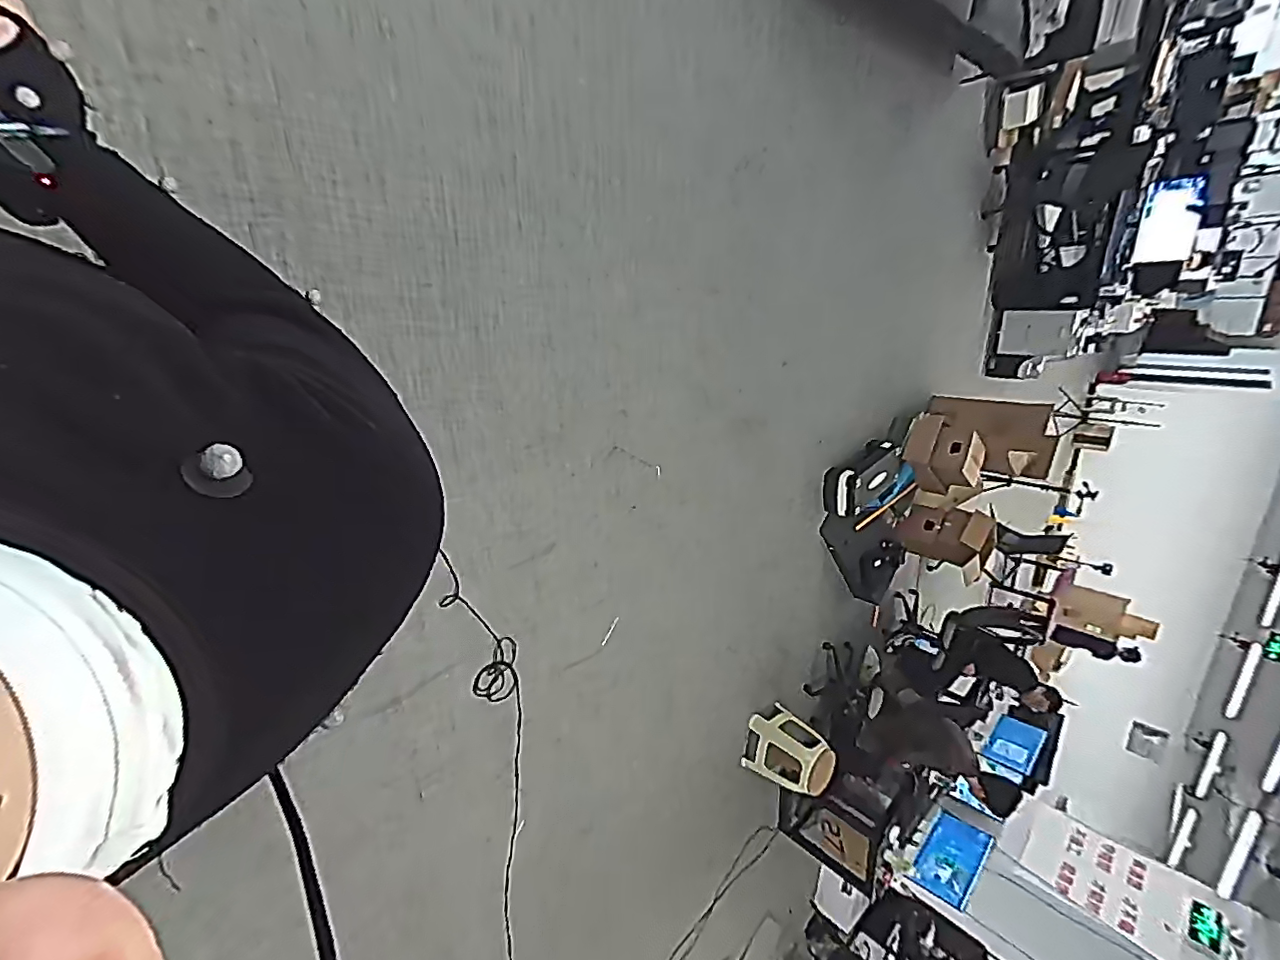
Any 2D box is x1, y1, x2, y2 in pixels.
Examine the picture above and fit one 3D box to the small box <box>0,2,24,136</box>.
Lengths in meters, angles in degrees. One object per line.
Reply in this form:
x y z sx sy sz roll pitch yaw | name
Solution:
-0.632 -0.398 0.425 0.179 0.176 0.168 -14 106 -43 | small box
